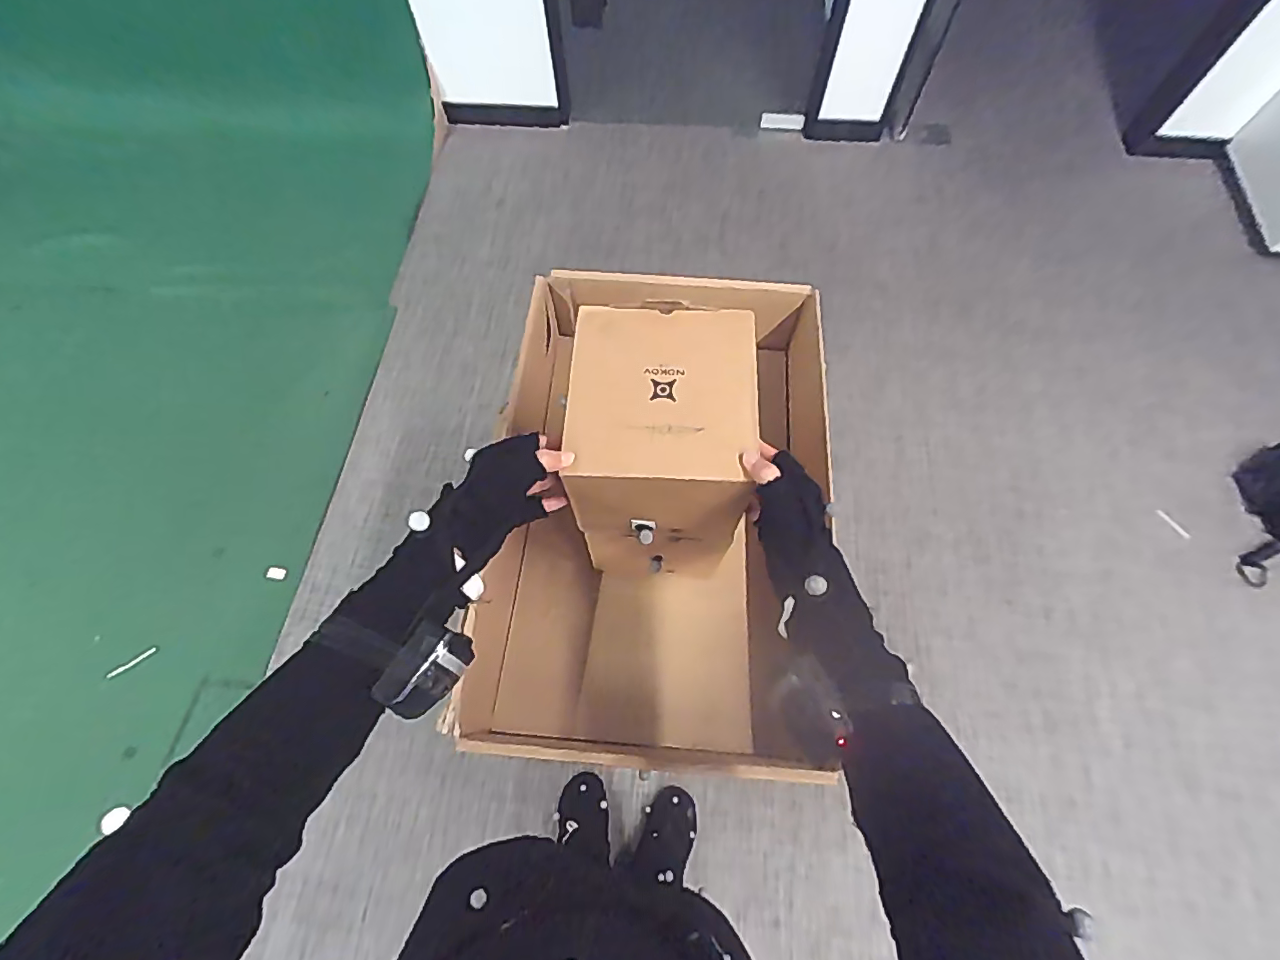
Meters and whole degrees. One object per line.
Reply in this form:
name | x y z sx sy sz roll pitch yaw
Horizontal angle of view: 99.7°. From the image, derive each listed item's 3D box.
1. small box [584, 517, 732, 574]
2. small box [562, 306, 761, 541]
small box | 0.025 0.015 0.692 0.168 0.176 0.179 4 67 1
small box | 0.023 -0.049 0.544 0.168 0.176 0.179 2 68 3
